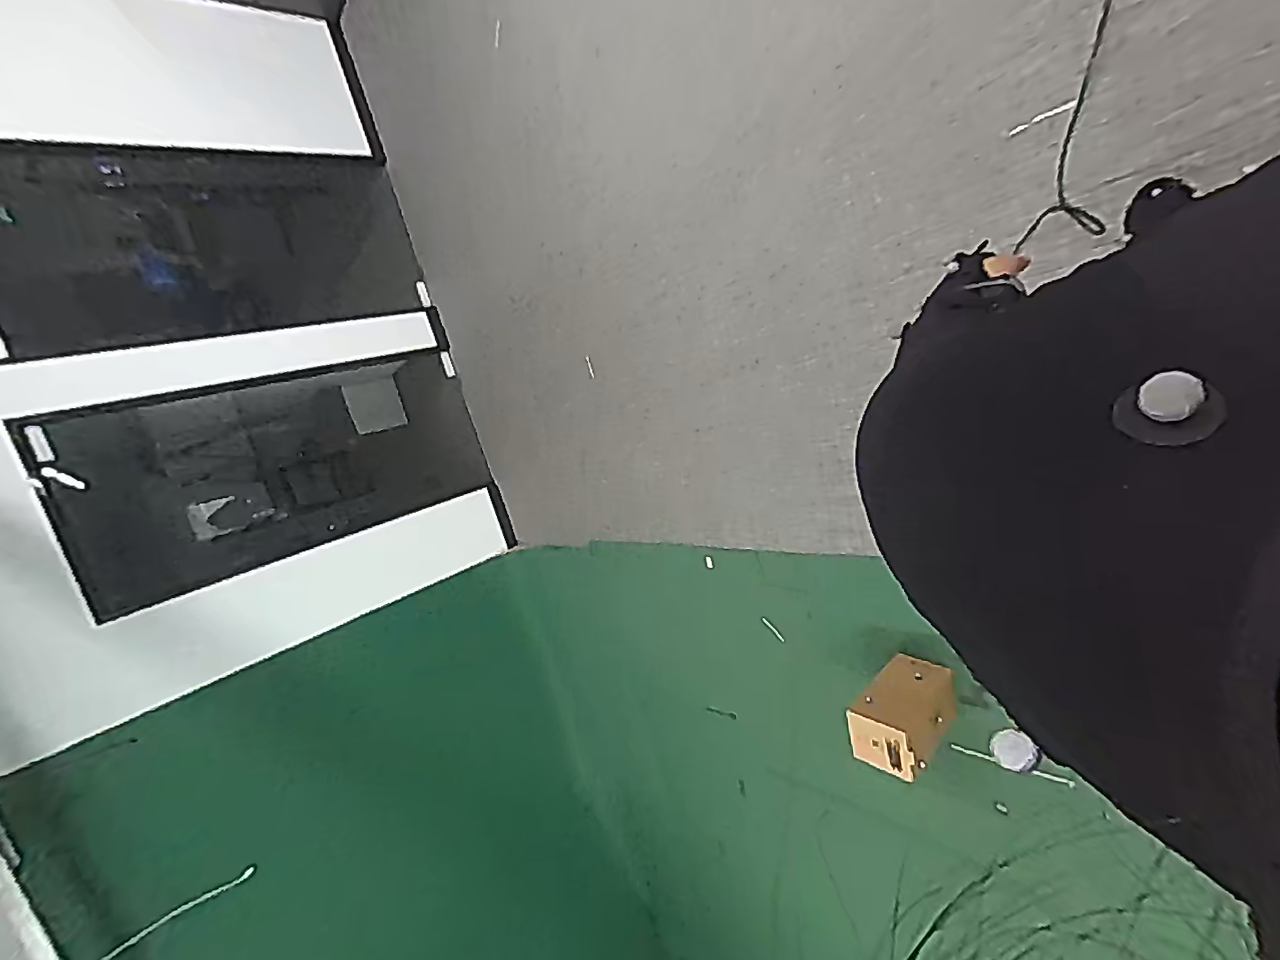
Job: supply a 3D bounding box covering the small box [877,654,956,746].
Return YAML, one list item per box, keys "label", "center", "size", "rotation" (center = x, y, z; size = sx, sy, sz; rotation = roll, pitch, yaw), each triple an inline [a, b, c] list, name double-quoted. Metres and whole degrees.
- label: "small box"
  center: [0.851, 0.666, 1.660]
  size: [0.168, 0.176, 0.179]
  rotation: [6, 112, 49]
